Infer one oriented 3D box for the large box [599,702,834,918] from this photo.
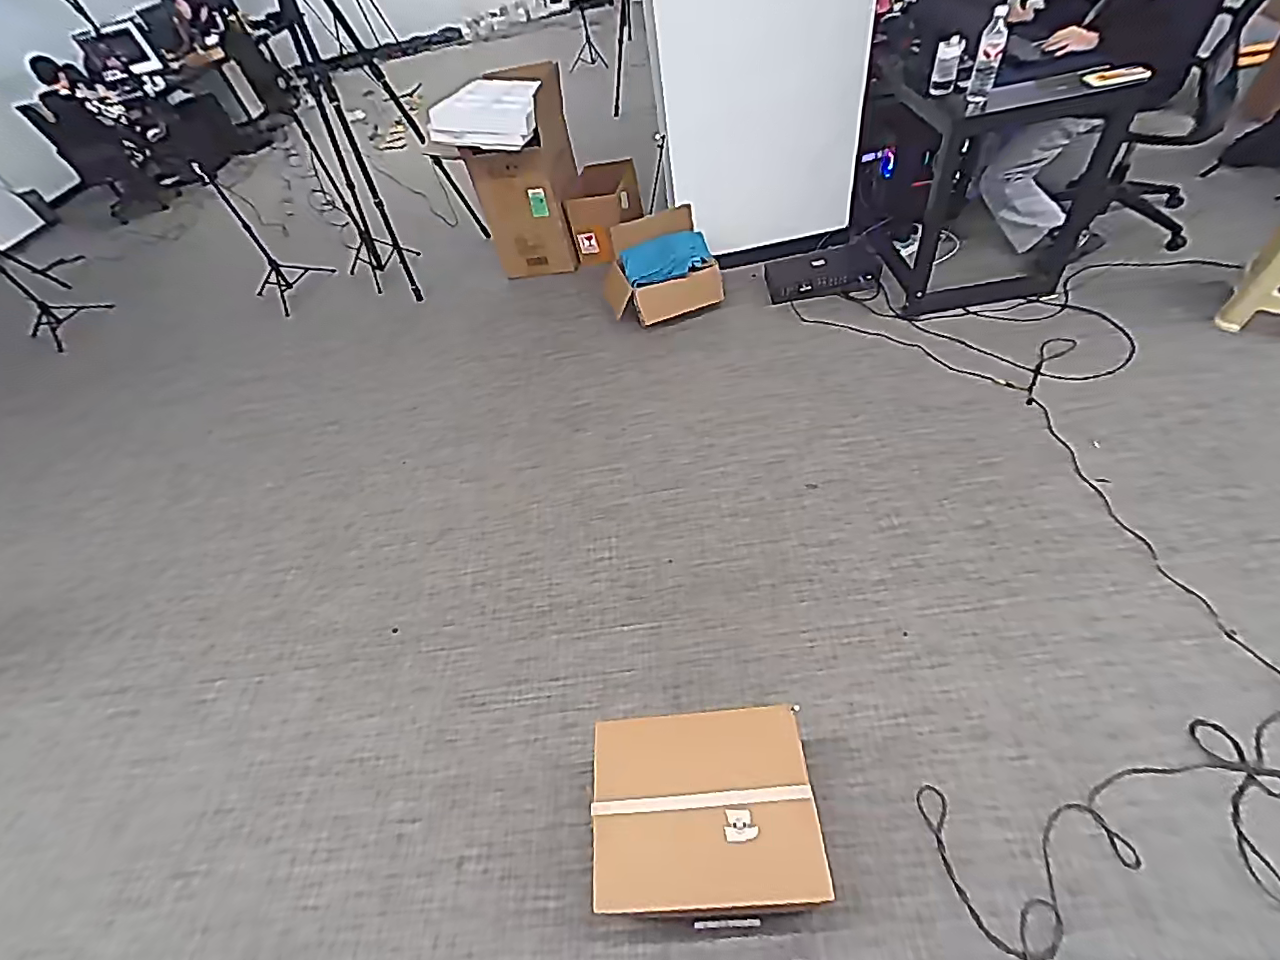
[{"bbox_3d":[0.140,0.684,1.111,0.408,0.320,0.320,-7,50,5],"label":"large box"}]
